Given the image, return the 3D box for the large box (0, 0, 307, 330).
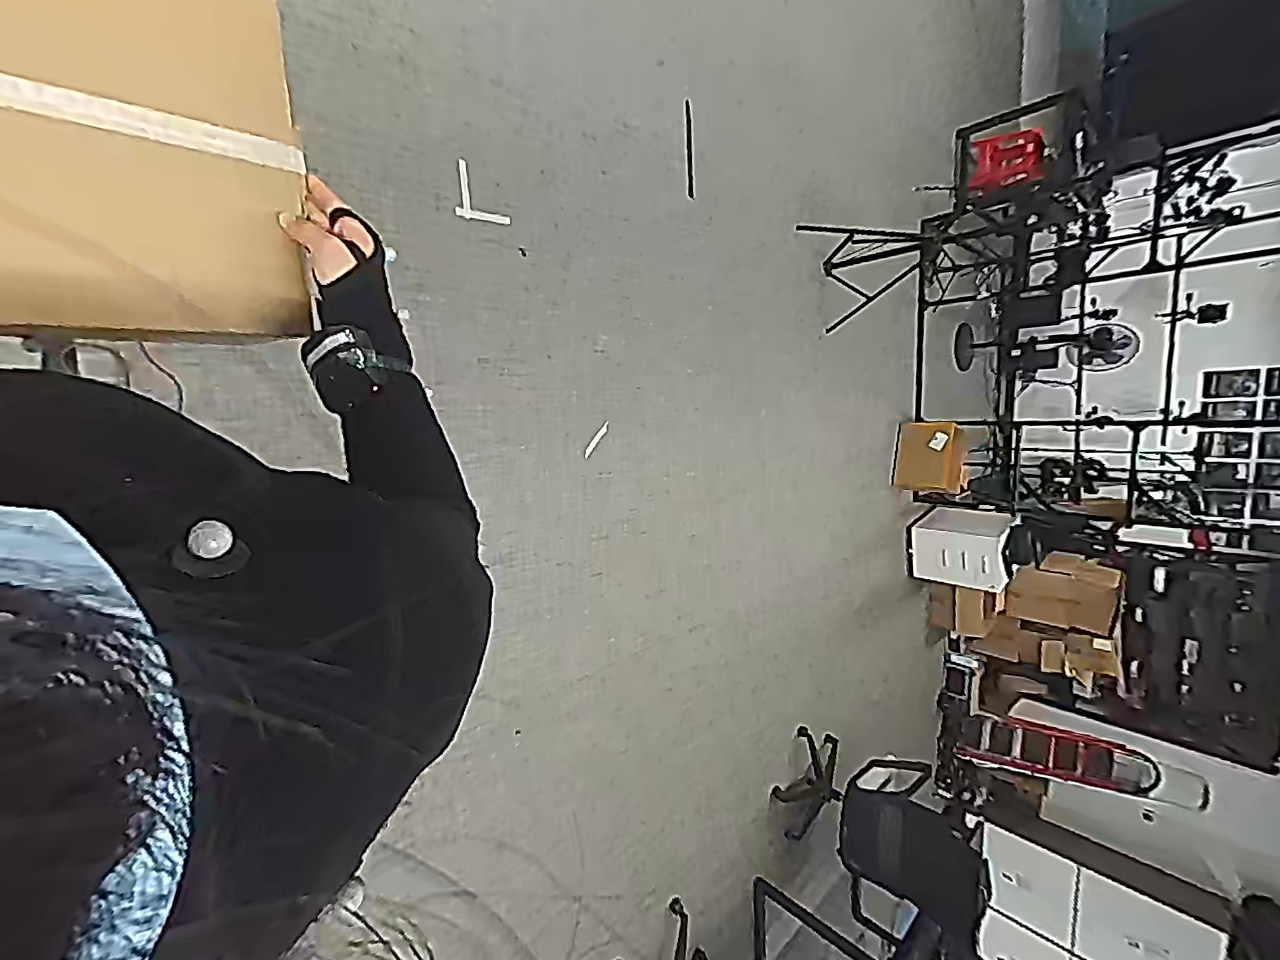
[{"bbox_3d":[-0.575,-0.298,0.476,0.408,0.320,0.320,-11,106,-43],"label":"large box"}]
